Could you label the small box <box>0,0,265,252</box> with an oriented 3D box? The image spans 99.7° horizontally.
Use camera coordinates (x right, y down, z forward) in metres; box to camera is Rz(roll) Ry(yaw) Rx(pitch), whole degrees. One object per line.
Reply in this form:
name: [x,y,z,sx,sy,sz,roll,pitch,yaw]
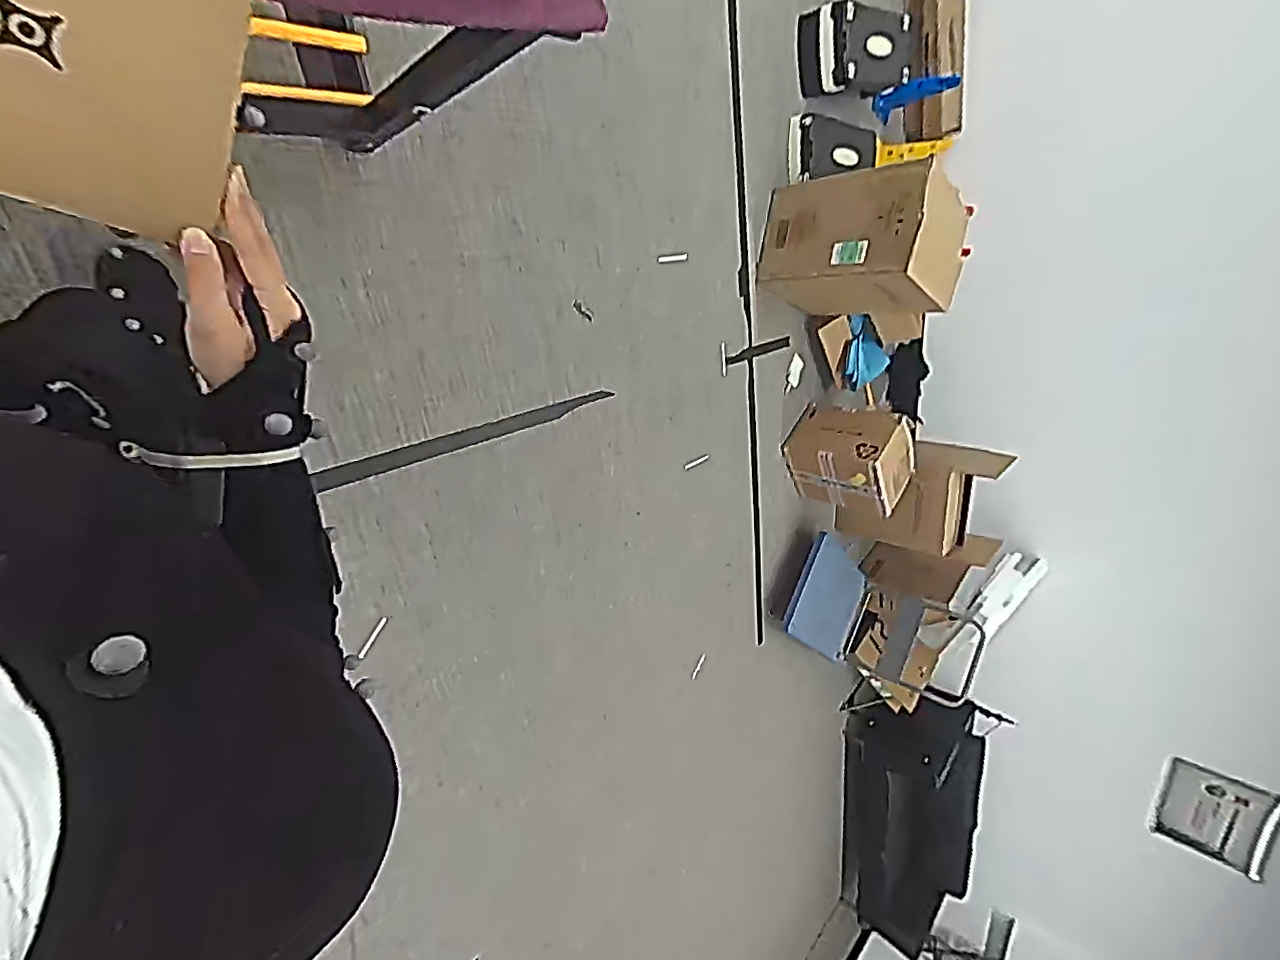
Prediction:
small box: [-0.328,-0.260,0.299,0.179,0.176,0.168,8,121,-41]
